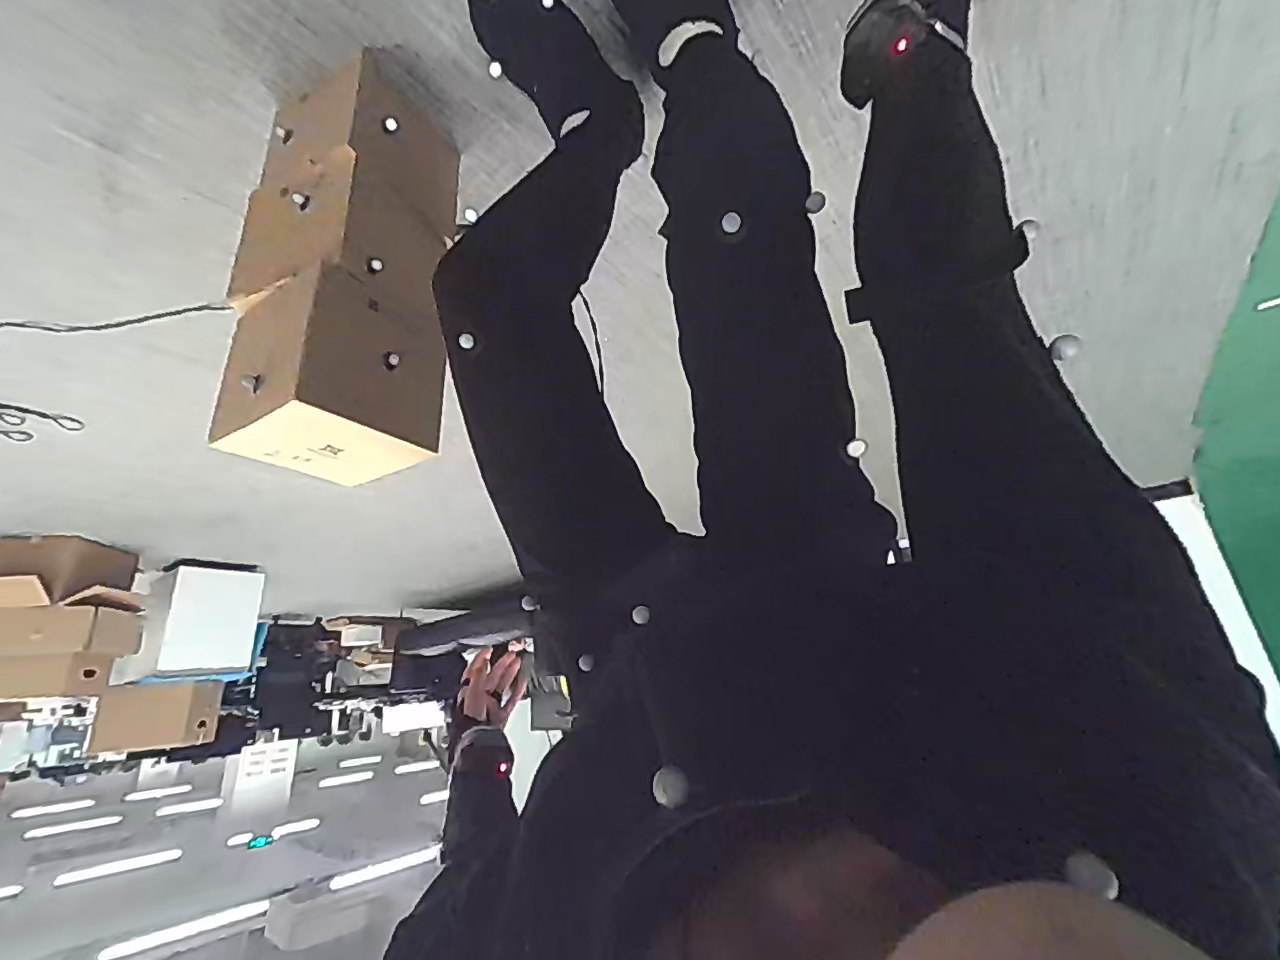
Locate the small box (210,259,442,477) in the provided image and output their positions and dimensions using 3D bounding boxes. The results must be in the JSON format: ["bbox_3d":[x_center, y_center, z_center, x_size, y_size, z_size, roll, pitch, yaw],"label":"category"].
[{"bbox_3d":[-0.350,-0.120,0.627,0.179,0.176,0.168,-13,157,28],"label":"small box"}]

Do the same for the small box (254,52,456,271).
[{"bbox_3d":[-0.373,-0.427,0.734,0.168,0.176,0.179,-11,160,21],"label":"small box"}]
